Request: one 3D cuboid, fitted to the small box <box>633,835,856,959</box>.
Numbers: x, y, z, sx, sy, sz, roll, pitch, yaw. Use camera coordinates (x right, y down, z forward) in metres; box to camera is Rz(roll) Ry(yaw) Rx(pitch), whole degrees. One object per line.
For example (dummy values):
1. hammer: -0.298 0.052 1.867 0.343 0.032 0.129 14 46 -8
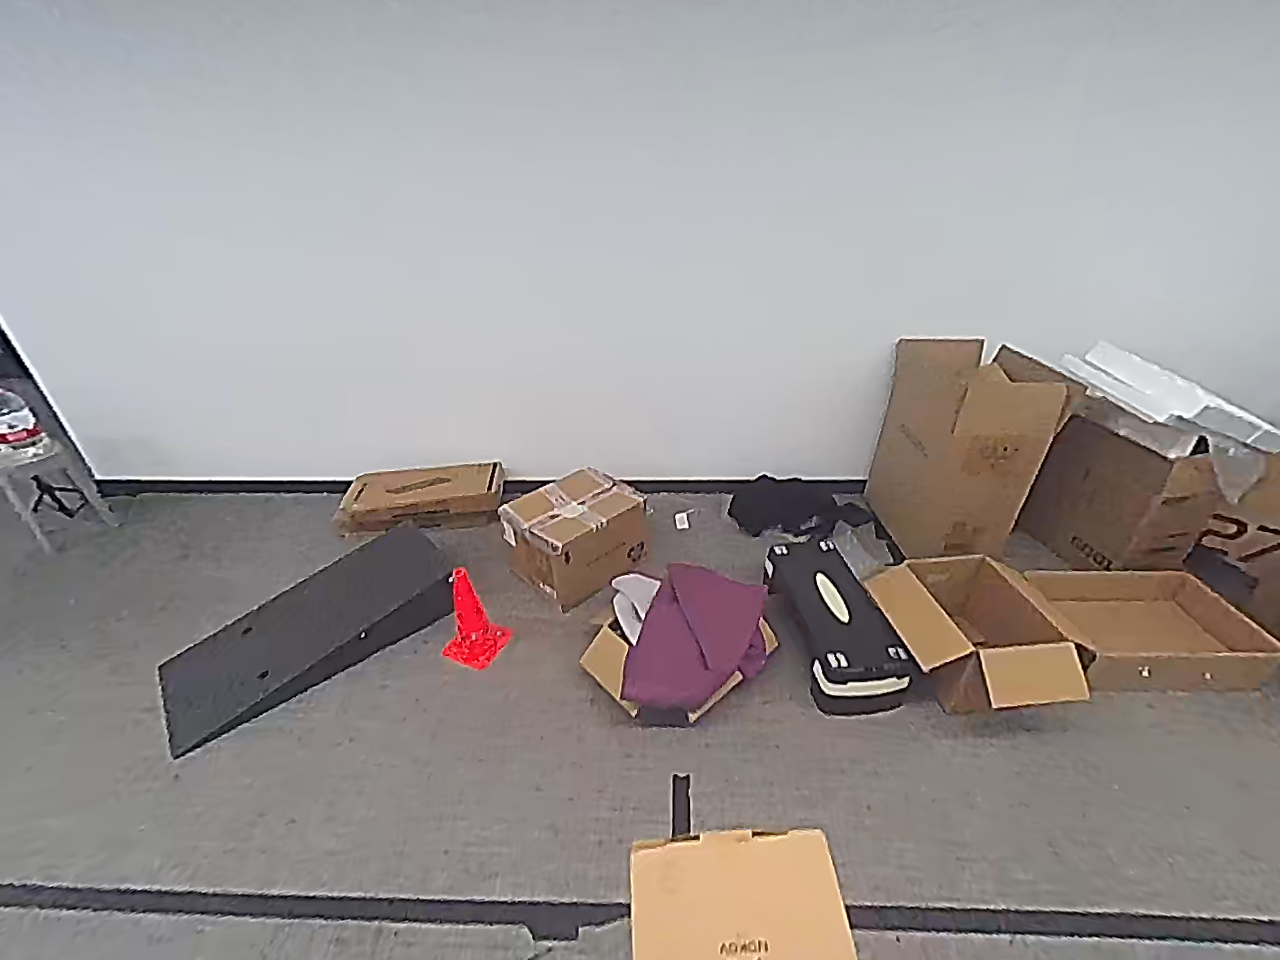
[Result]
1. small box: 0.078 0.419 0.441 0.168 0.176 0.179 -3 42 -1
